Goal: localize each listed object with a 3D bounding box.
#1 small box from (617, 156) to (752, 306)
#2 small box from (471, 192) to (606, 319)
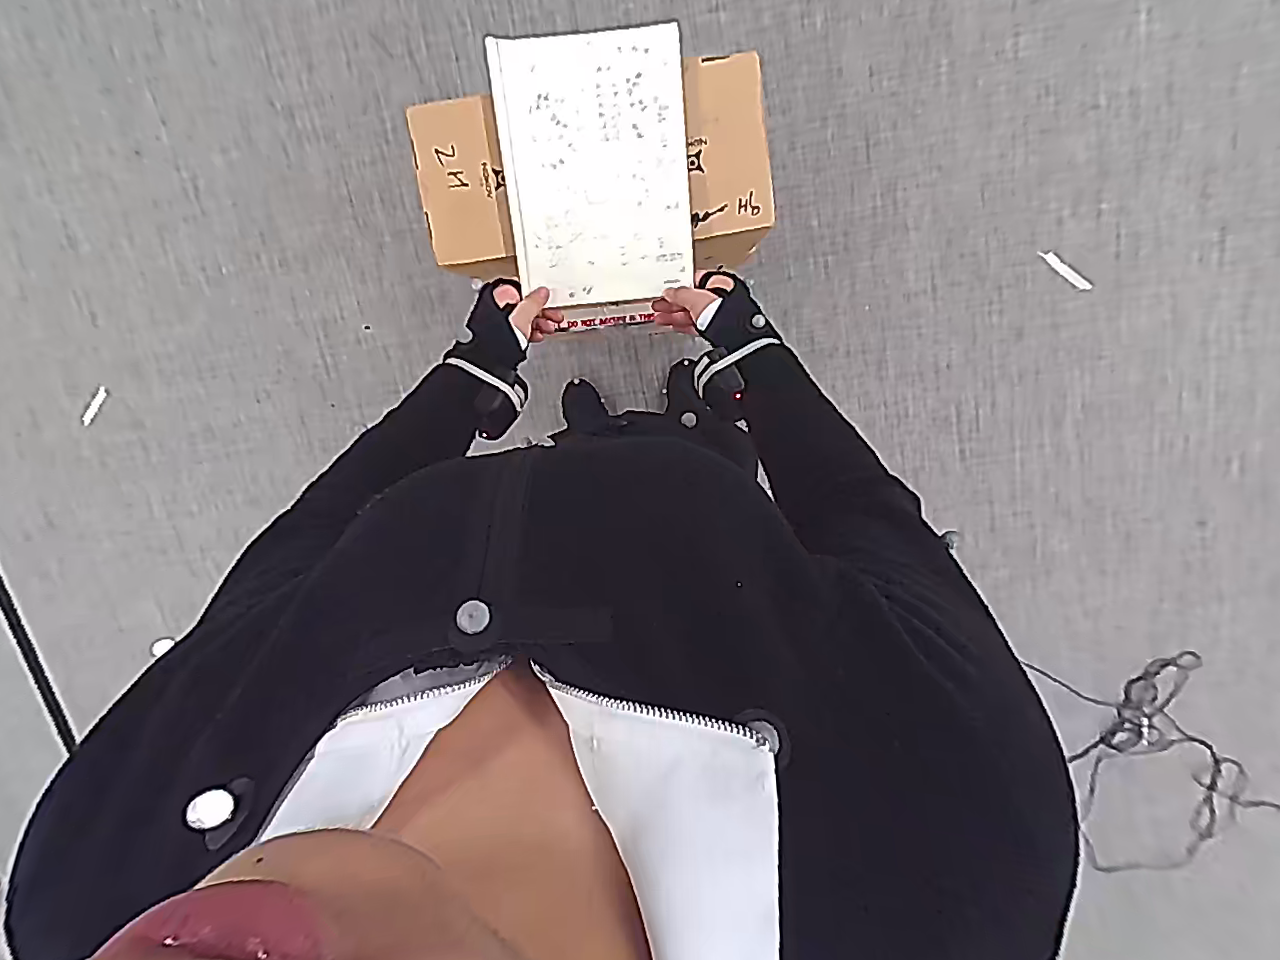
[{"bbox_3d":[0.065,-0.378,0.849,0.179,0.176,0.168,-10,103,3],"label":"small box"},{"bbox_3d":[-0.149,-0.347,0.863,0.179,0.176,0.168,-1,104,4],"label":"small box"}]
